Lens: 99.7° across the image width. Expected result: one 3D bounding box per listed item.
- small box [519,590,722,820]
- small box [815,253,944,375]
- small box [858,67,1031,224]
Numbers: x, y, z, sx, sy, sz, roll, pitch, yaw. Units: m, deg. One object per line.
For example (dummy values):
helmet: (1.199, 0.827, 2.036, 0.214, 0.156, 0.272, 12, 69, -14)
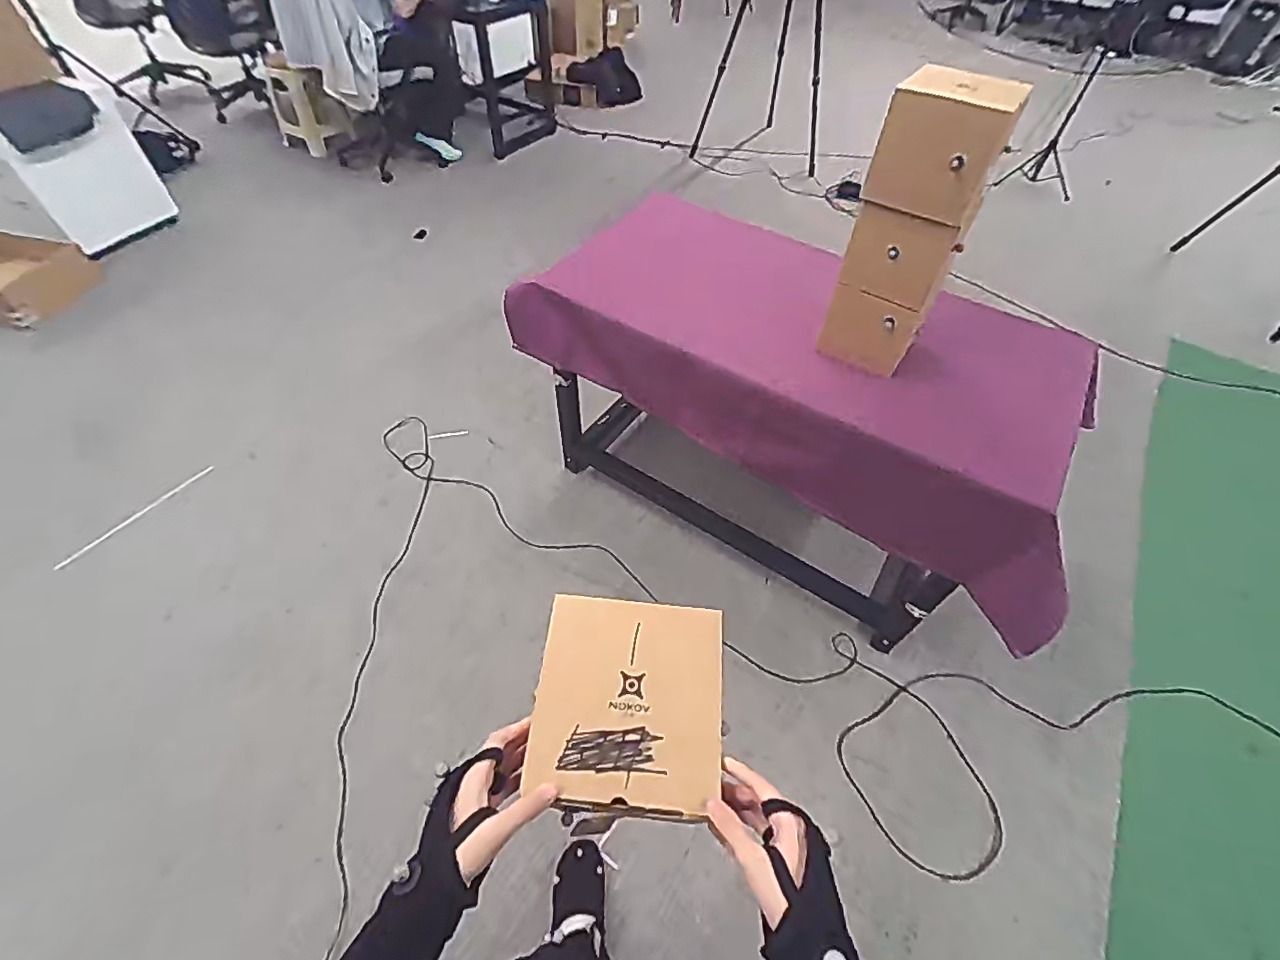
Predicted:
small box: (-0.013, 0.233, 0.547, 0.168, 0.176, 0.179, 7, 55, 0)
small box: (0.508, -0.350, 1.161, 0.179, 0.176, 0.168, 30, 56, 20)
small box: (0.499, -0.553, 0.903, 0.179, 0.176, 0.168, 30, 55, 20)
